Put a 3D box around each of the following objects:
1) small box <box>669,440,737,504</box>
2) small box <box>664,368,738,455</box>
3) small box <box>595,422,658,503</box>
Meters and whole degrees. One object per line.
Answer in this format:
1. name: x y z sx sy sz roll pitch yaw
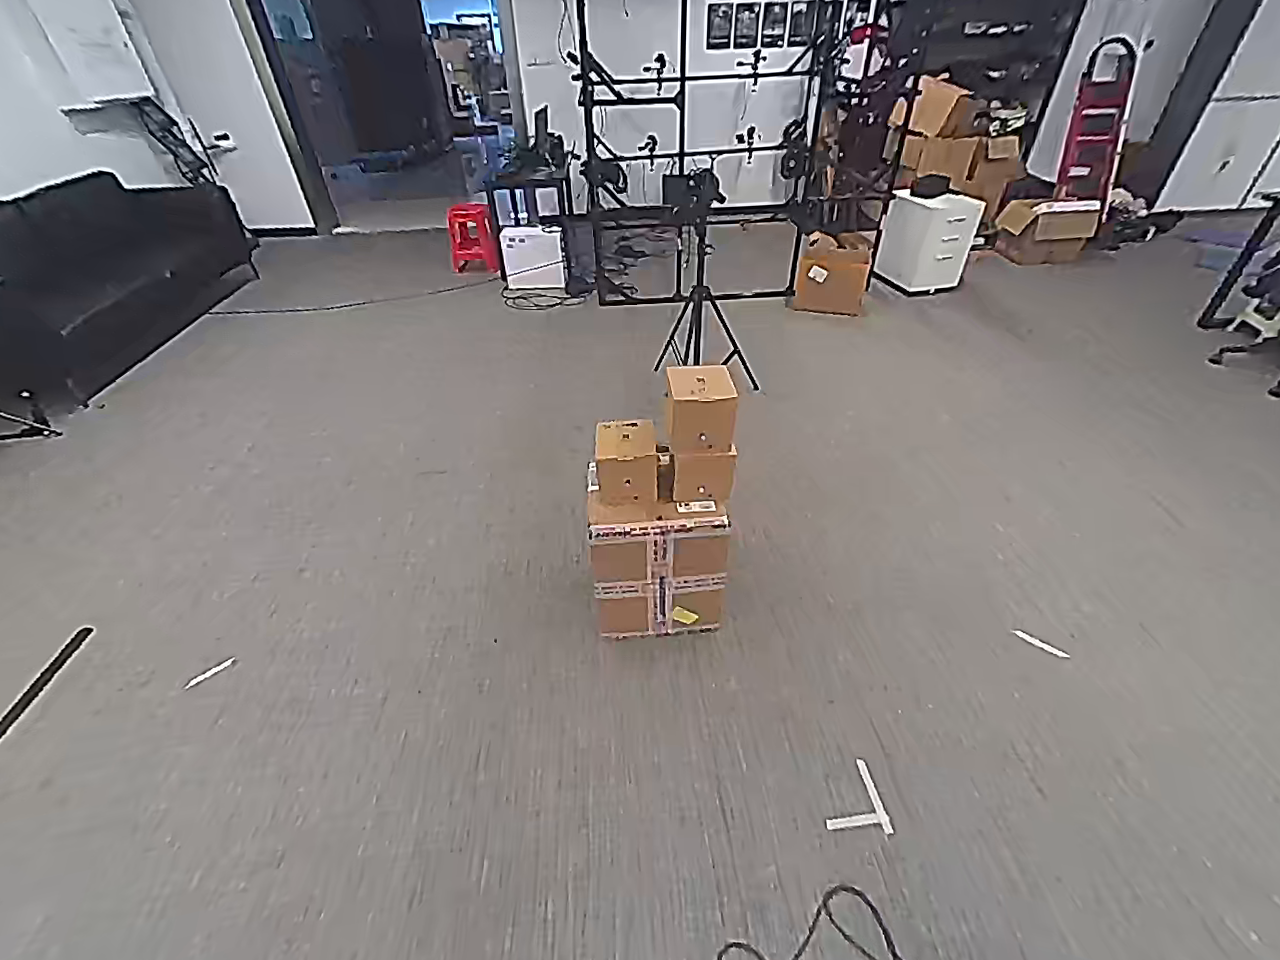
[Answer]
1. small box: 0.174 -0.051 1.549 0.168 0.176 0.179 -1 41 -2
2. small box: 0.157 -0.184 1.452 0.168 0.176 0.179 -2 40 -4
3. small box: -0.036 -0.045 1.547 0.168 0.176 0.179 -3 41 1
